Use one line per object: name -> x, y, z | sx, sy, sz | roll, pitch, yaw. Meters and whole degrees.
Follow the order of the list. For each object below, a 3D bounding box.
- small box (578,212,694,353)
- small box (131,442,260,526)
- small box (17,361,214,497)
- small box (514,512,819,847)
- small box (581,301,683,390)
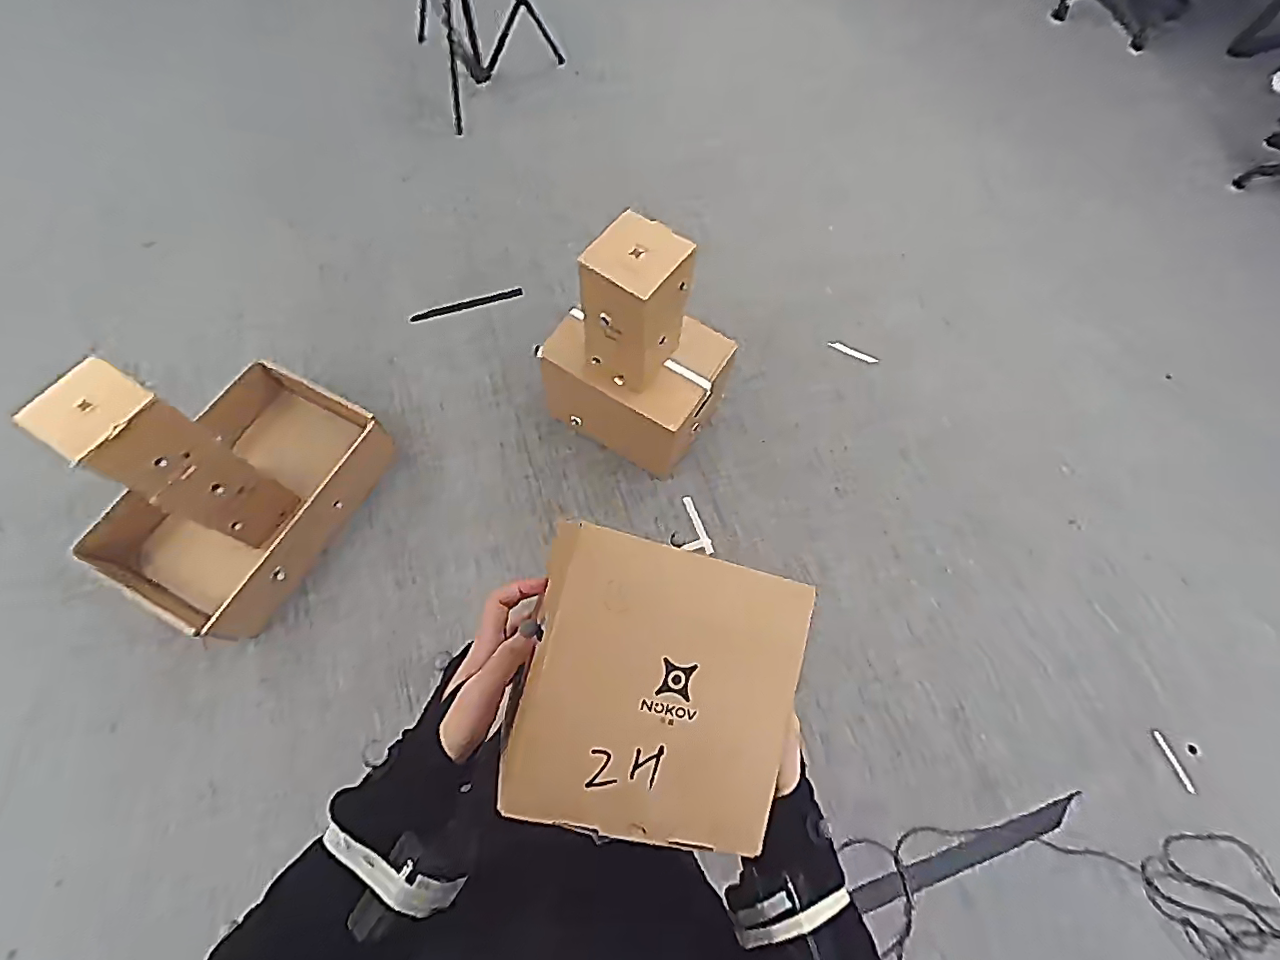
small box -> -0.011, -0.401, 1.114 | 0.168, 0.176, 0.179 | 33, 71, 11
small box -> -0.999, -0.017, 1.191 | 0.179, 0.176, 0.168 | 30, 68, 10
small box -> -0.996, -0.091, 1.045 | 0.179, 0.176, 0.168 | 29, 68, 10
small box -> 0.006, 0.133, 0.415 | 0.168, 0.176, 0.179 | 17, 81, -11
small box -> -0.018, -0.343, 1.266 | 0.168, 0.176, 0.179 | 31, 69, 9
